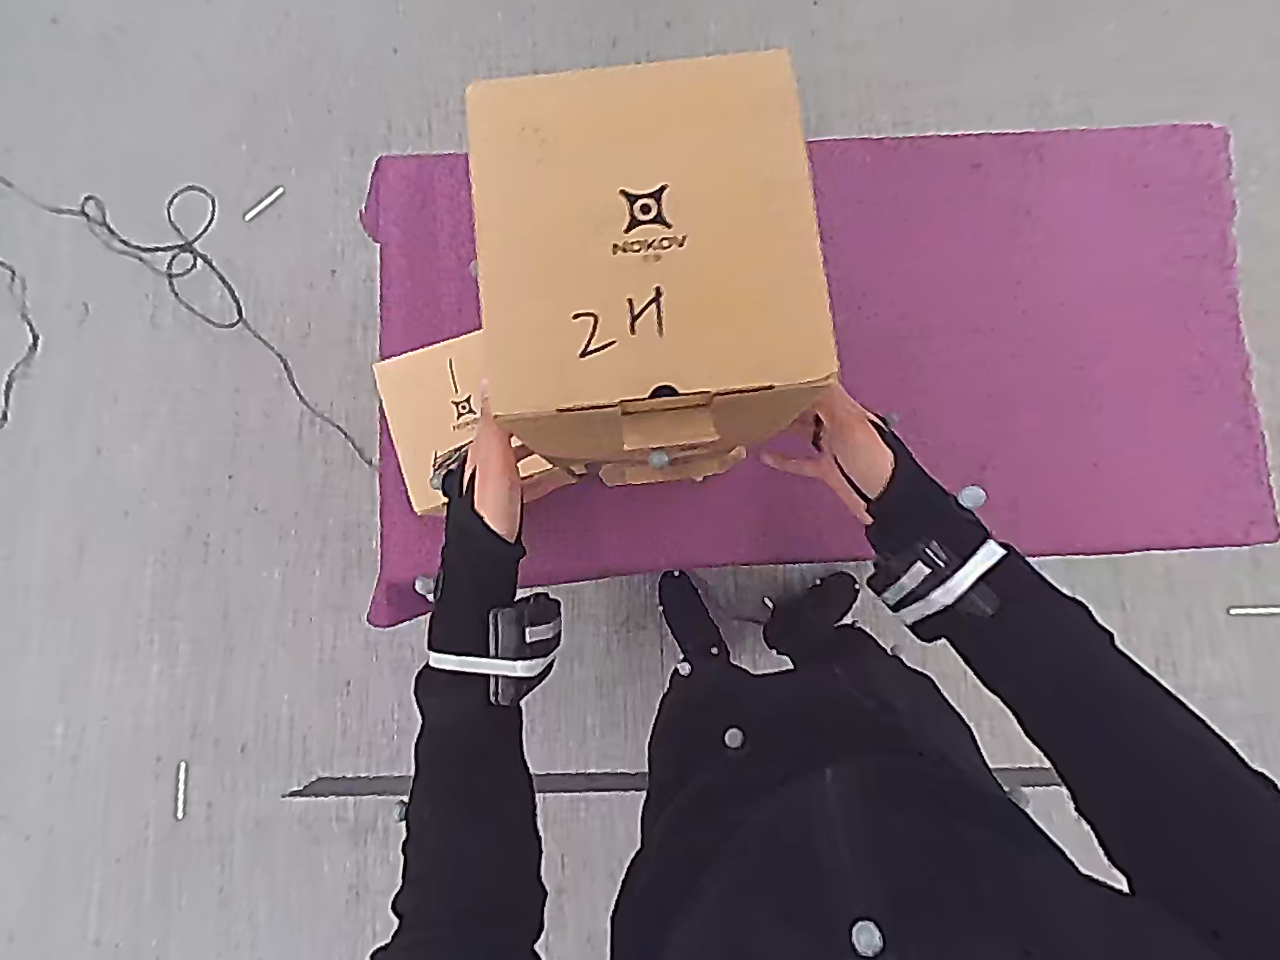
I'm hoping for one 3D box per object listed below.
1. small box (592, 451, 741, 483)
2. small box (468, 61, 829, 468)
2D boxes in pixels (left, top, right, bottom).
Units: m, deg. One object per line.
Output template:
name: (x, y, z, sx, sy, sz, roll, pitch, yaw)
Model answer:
small box: (0.022, -0.090, 0.673, 0.168, 0.176, 0.179, -6, 84, -1)
small box: (0.001, -0.110, 0.343, 0.168, 0.176, 0.179, -6, 84, 0)
